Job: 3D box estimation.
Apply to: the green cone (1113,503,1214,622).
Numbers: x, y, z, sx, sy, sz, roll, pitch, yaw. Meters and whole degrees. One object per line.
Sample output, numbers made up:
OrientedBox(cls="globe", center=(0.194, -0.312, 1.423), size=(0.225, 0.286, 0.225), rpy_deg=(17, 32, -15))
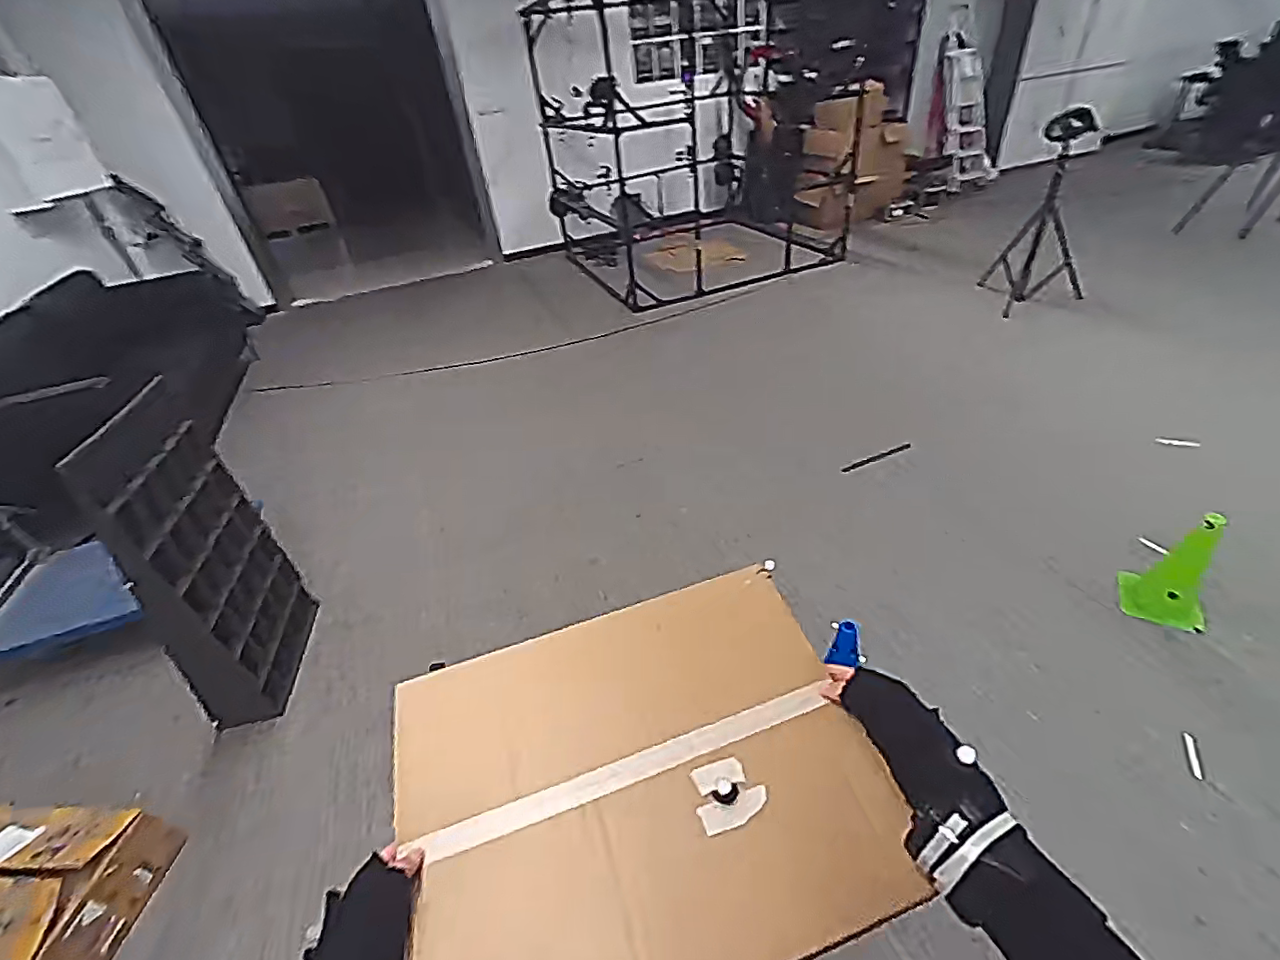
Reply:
OrientedBox(cls="green cone", center=(1.620, 0.218, 1.625), size=(0.202, 0.368, 0.200), rpy_deg=(13, 41, 28))

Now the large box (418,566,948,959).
OrientedBox(cls="large box", center=(0.017, 0.357, 0.586), size=(0.408, 0.320, 0.320), rpy_deg=(-16, 46, -10))
